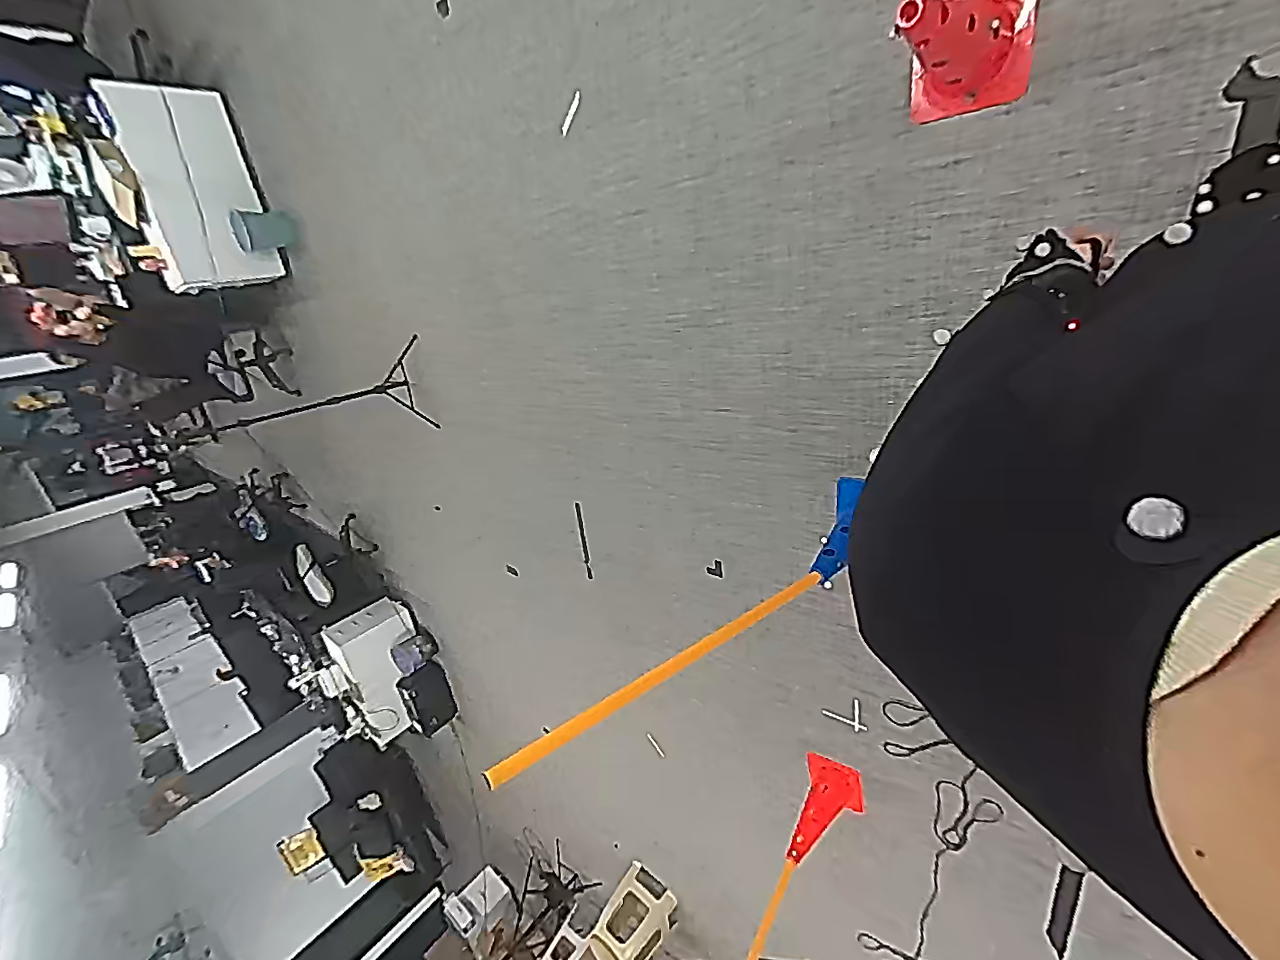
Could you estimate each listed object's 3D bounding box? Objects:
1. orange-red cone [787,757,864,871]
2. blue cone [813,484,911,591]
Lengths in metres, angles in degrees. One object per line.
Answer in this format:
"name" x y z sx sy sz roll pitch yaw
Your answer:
"orange-red cone" 0.600 1.172 1.848 0.199 0.360 0.198 4 115 42
"blue cone" 0.538 0.166 1.381 0.193 0.380 0.192 14 121 40
